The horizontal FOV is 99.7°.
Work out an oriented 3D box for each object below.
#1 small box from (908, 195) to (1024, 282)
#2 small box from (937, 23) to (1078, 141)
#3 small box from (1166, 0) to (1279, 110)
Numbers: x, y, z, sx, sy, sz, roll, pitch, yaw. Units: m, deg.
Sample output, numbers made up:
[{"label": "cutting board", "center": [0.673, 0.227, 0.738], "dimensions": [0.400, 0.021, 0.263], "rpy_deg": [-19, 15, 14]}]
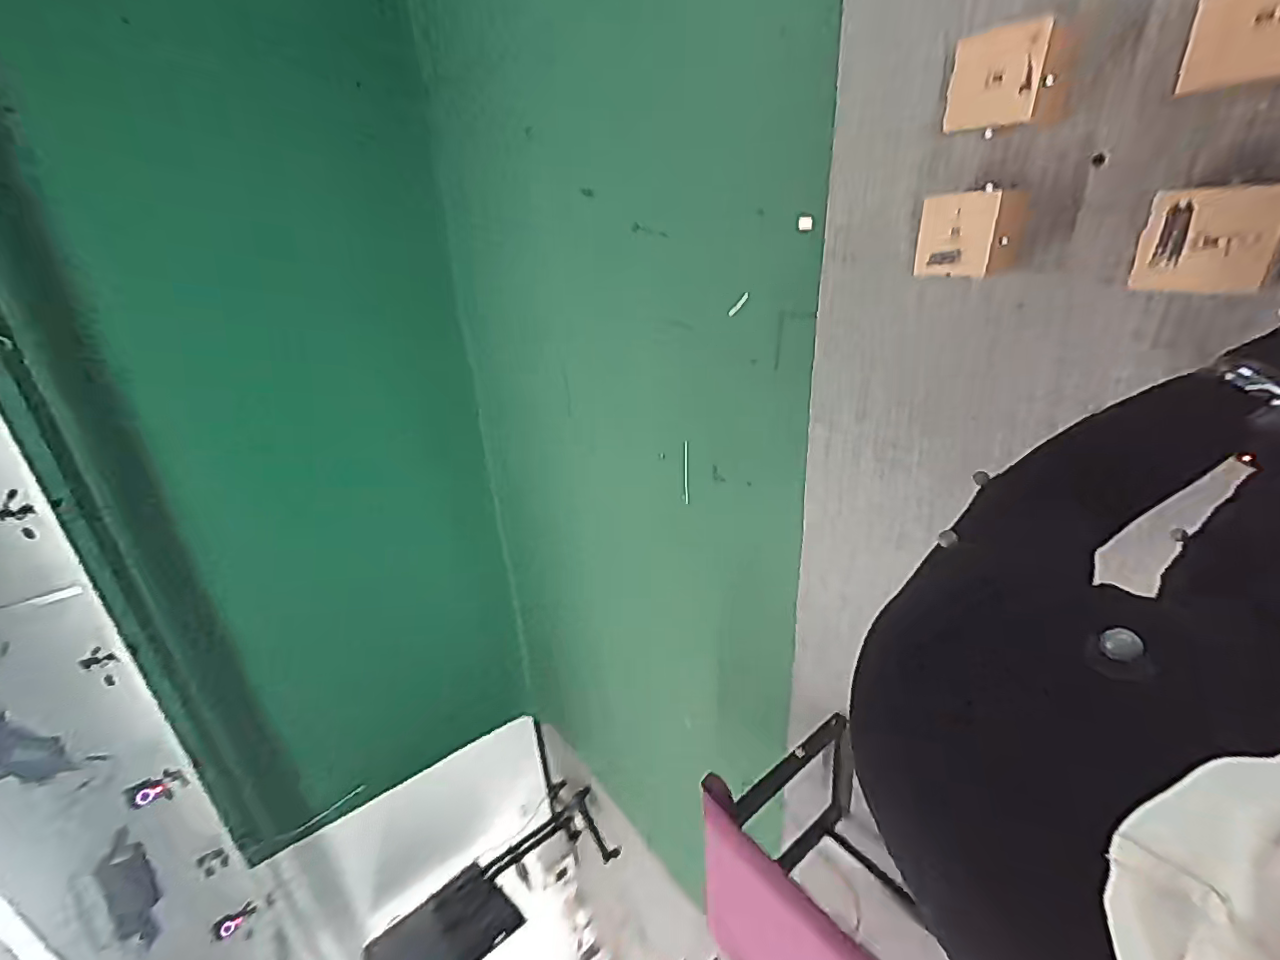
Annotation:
[{"label": "small box", "center": [0.766, -0.566, 1.271], "dimensions": [0.168, 0.176, 0.179], "rpy_deg": [26, 125, 46]}, {"label": "small box", "center": [0.771, -0.825, 1.140], "dimensions": [0.179, 0.176, 0.168], "rpy_deg": [29, 128, 46]}, {"label": "small box", "center": [1.004, -0.713, 0.865], "dimensions": [0.179, 0.176, 0.168], "rpy_deg": [25, 124, 47]}]
